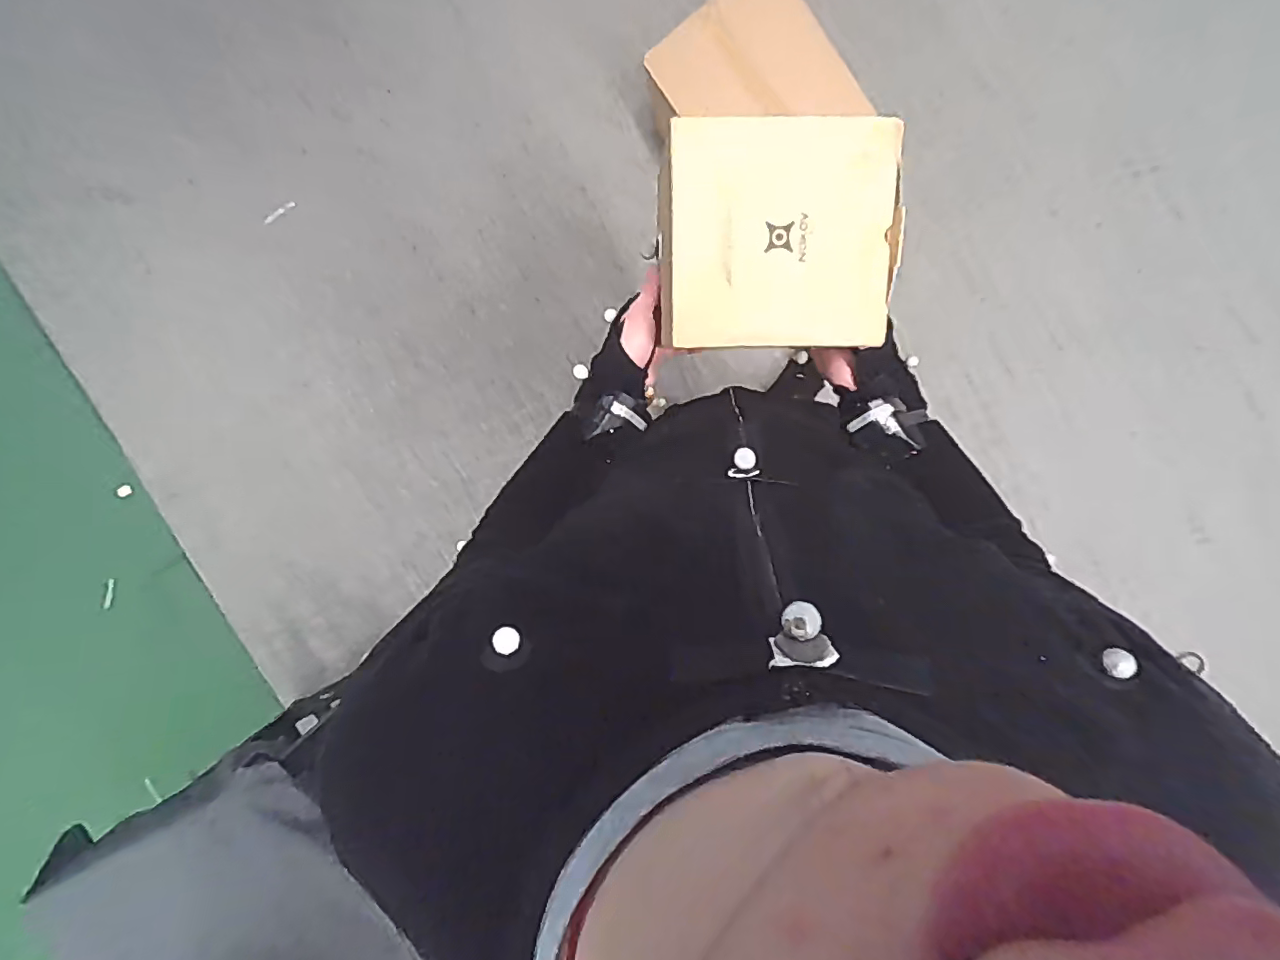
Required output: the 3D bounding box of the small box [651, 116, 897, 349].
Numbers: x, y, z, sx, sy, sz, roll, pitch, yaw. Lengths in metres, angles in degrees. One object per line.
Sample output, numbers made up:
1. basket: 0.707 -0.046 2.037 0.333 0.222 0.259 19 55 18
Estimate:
1. small box: 0.103 -0.207 0.494 0.179 0.176 0.168 -2 104 -1
